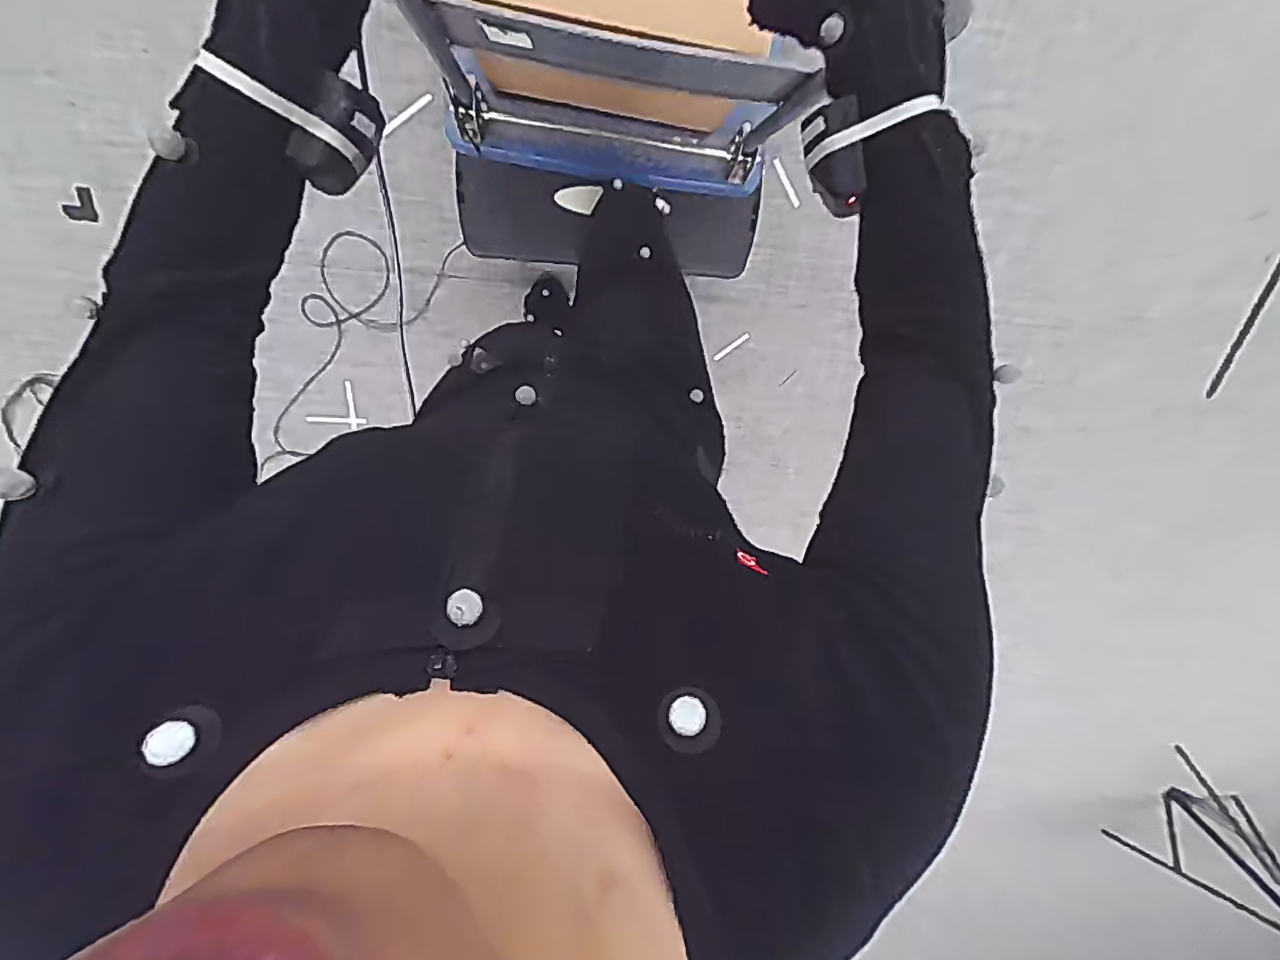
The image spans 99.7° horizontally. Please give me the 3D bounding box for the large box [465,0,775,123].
[{"bbox_3d":[-0.028,-0.770,0.784,0.408,0.320,0.320,5,107,-9],"label":"large box"}]
